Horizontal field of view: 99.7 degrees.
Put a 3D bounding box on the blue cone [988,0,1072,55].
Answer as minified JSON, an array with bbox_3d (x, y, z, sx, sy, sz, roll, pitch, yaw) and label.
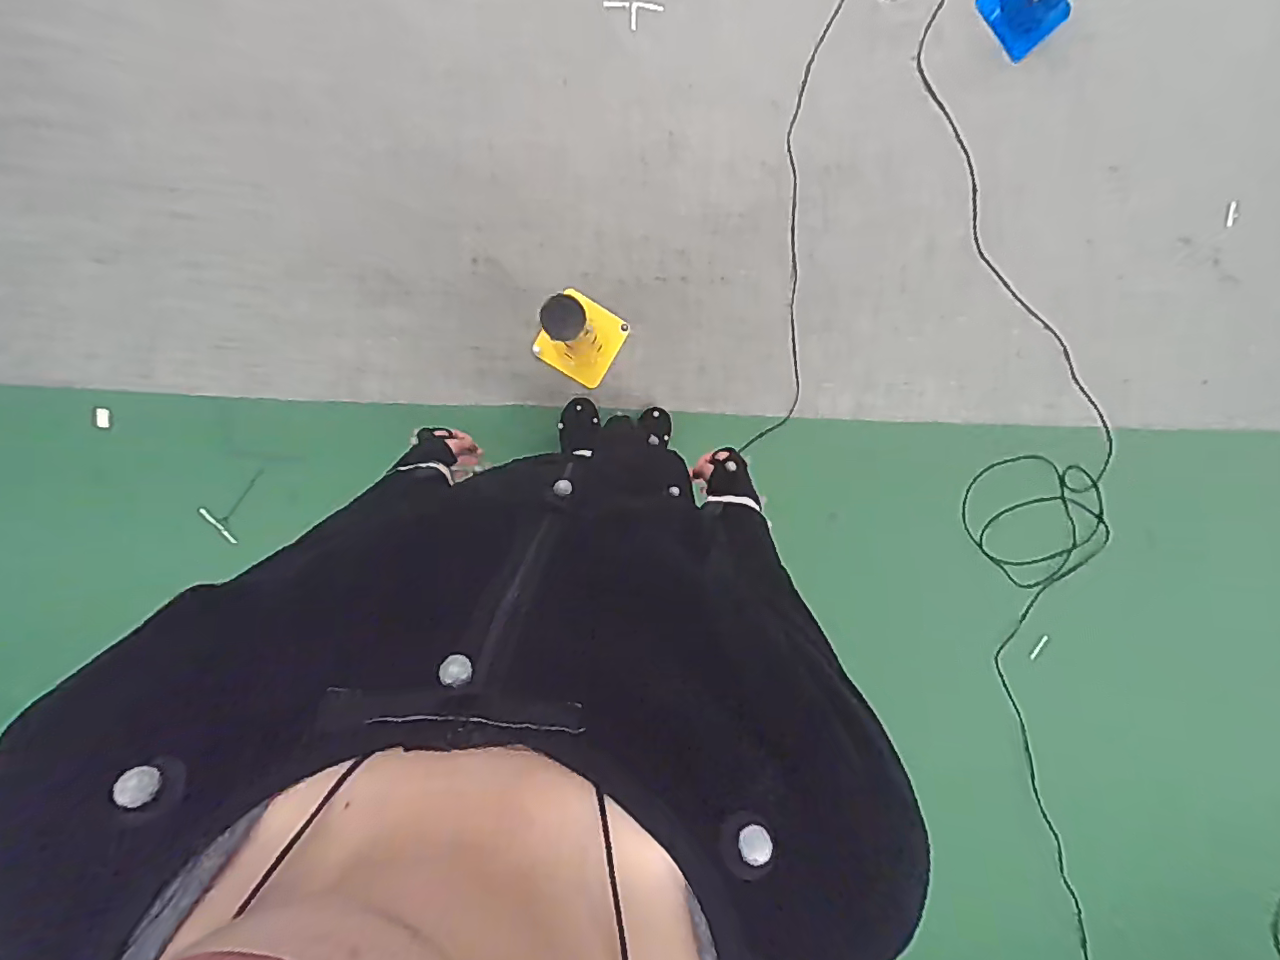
[{"bbox_3d":[1.017,-1.207,1.225,0.193,0.380,0.192,-44,98,0],"label":"blue cone"}]
